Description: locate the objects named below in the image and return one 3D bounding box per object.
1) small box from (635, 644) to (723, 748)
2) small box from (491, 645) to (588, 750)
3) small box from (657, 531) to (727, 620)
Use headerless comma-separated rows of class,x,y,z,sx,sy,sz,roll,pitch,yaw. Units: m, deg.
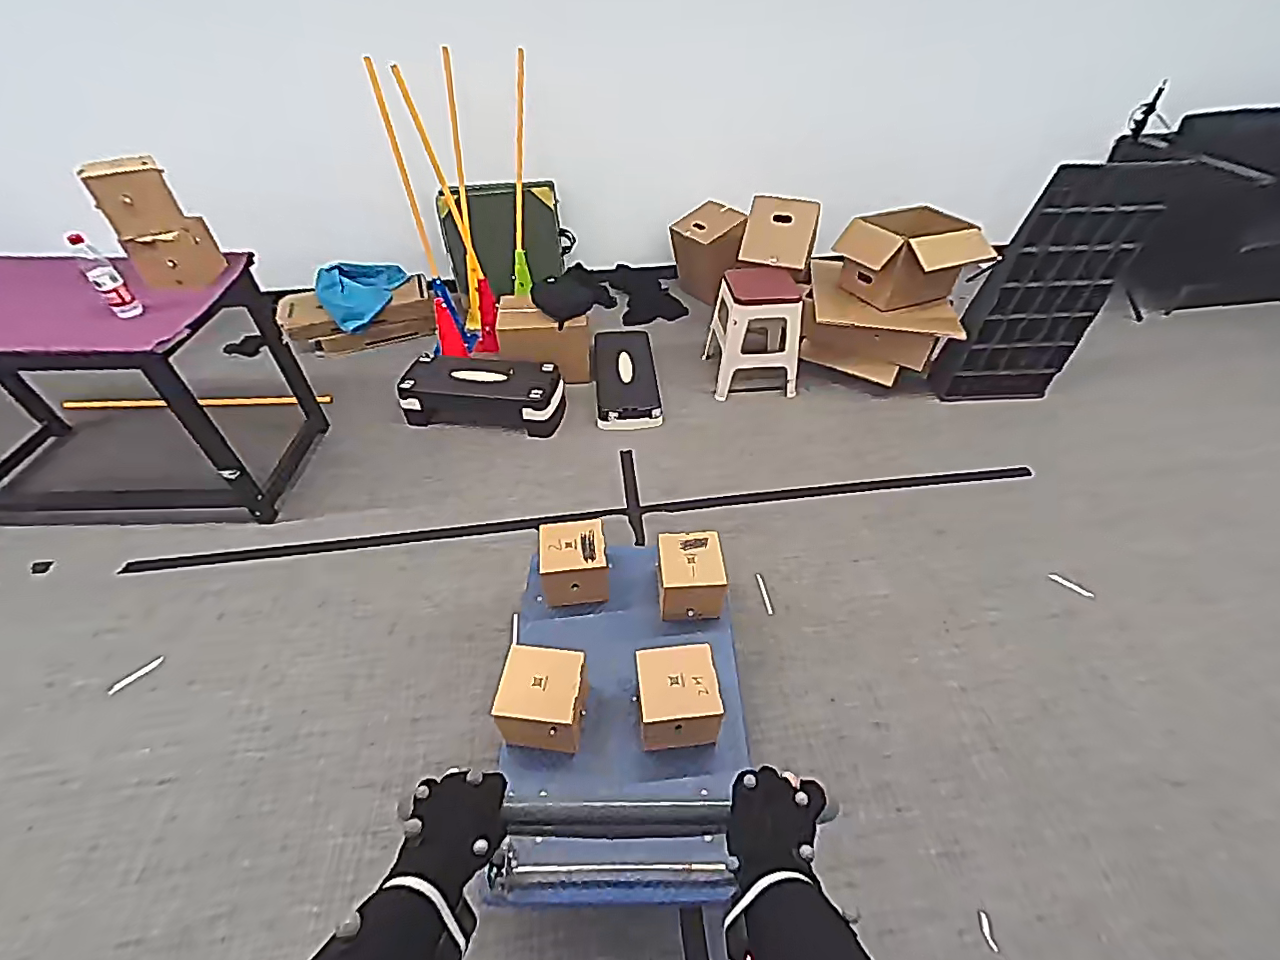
small box,0.083,0.498,1.241,0.179,0.176,0.168,-4,45,-4
small box,-0.221,0.500,1.240,0.179,0.176,0.168,5,45,3
small box,0.135,0.261,1.478,0.168,0.176,0.179,-2,46,-2
